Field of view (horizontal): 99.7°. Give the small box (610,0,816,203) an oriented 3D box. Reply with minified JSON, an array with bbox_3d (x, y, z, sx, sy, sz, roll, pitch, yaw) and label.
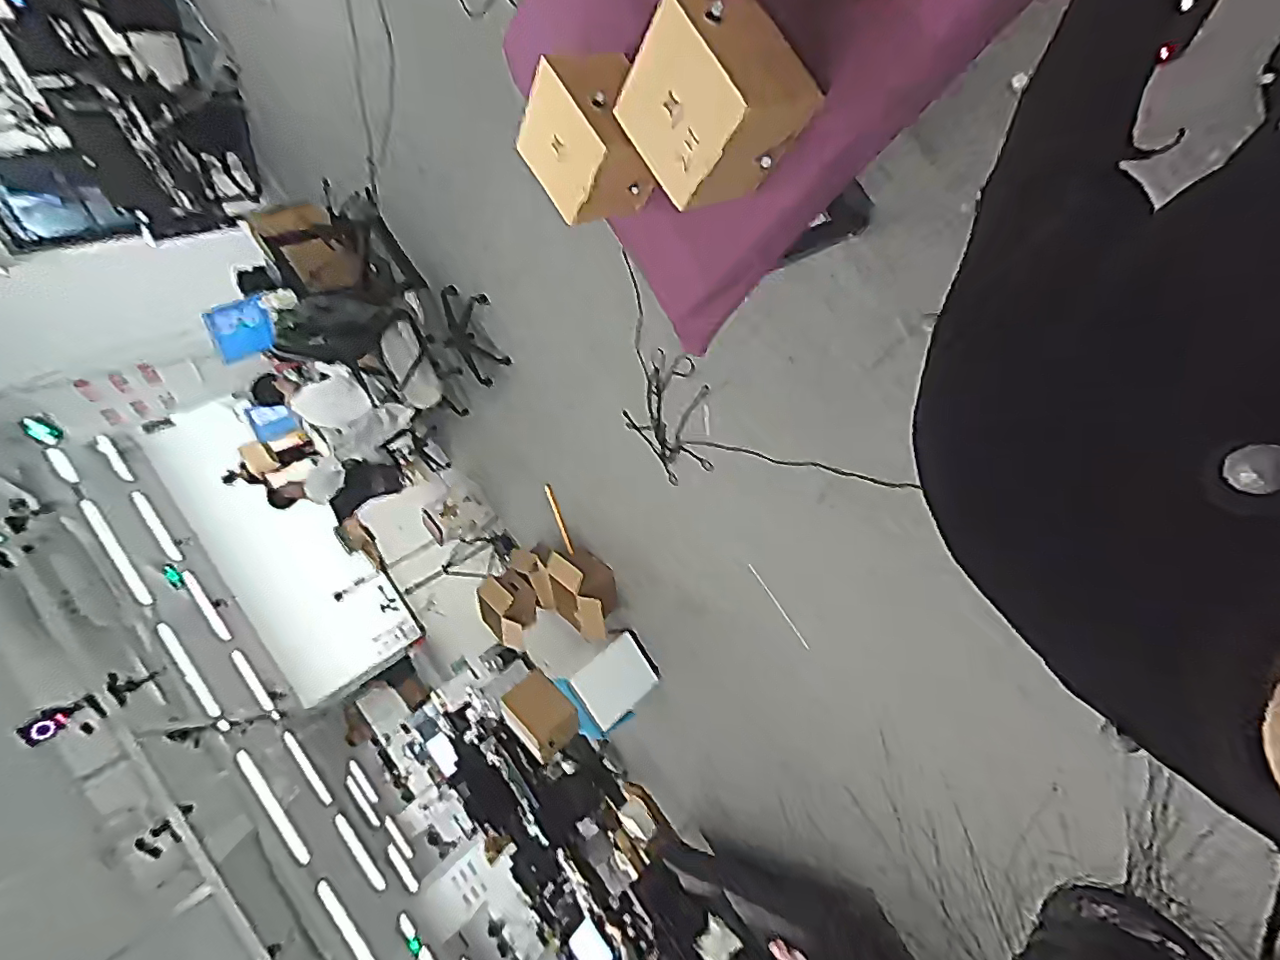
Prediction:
[{"bbox_3d":[0.096,-0.513,0.729,0.179,0.176,0.168,56,148,1],"label":"small box"}]

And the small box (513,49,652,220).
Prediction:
[{"bbox_3d":[-0.080,-0.578,0.910,0.179,0.176,0.168,55,147,1],"label":"small box"}]
